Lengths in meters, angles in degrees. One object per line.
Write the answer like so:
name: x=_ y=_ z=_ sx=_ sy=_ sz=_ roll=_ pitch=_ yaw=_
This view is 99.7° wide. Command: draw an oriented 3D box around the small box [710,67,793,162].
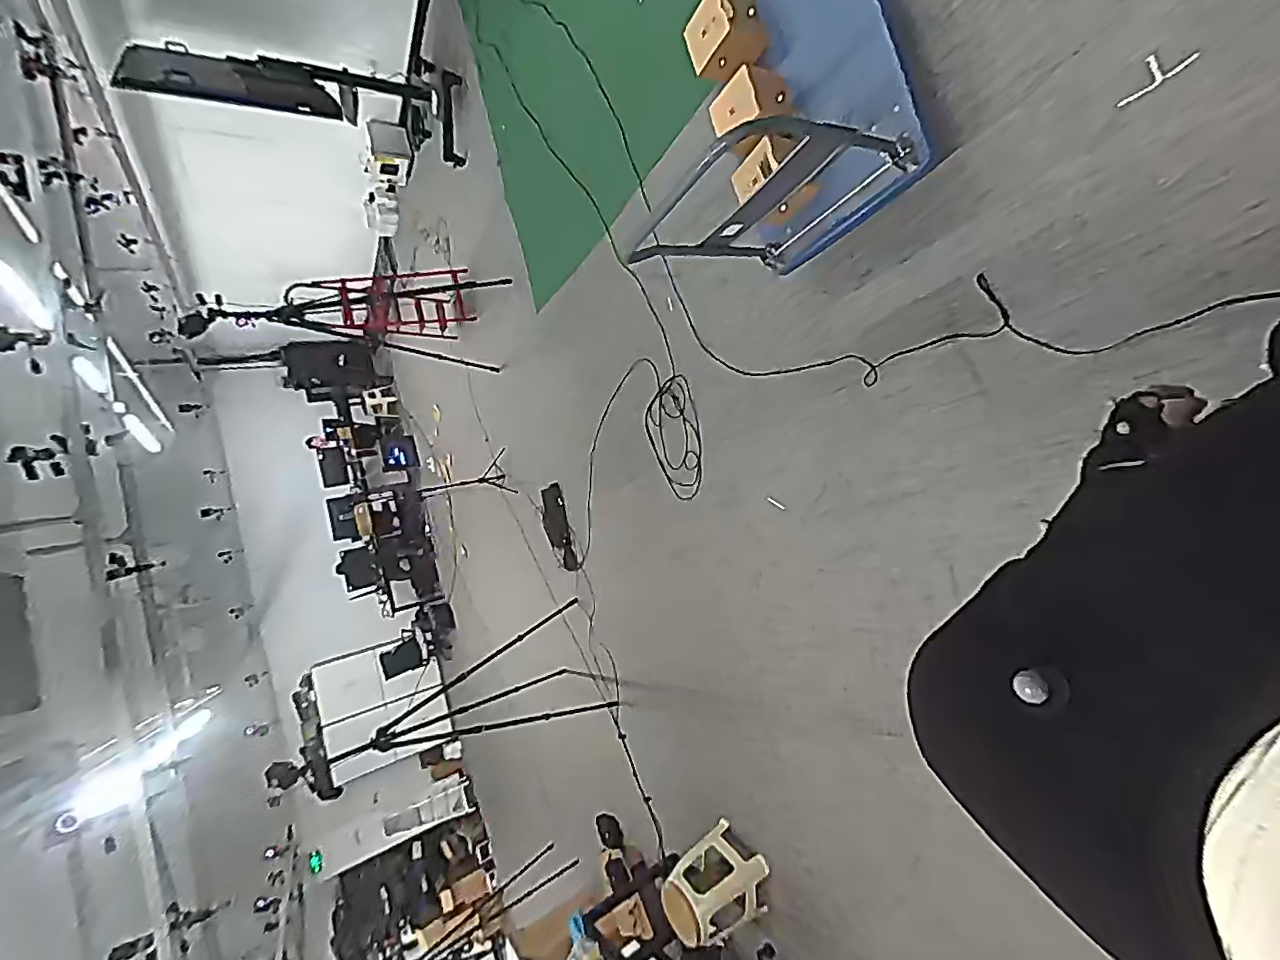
small box: x=0.355 y=-1.154 z=1.725 sx=0.179 sy=0.176 sz=0.168 roll=-22 pitch=82 yaw=55

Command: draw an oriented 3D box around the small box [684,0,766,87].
small box: x=0.276 y=-1.422 z=1.751 sx=0.179 sy=0.176 sz=0.168 roll=-23 pitch=82 yaw=56
